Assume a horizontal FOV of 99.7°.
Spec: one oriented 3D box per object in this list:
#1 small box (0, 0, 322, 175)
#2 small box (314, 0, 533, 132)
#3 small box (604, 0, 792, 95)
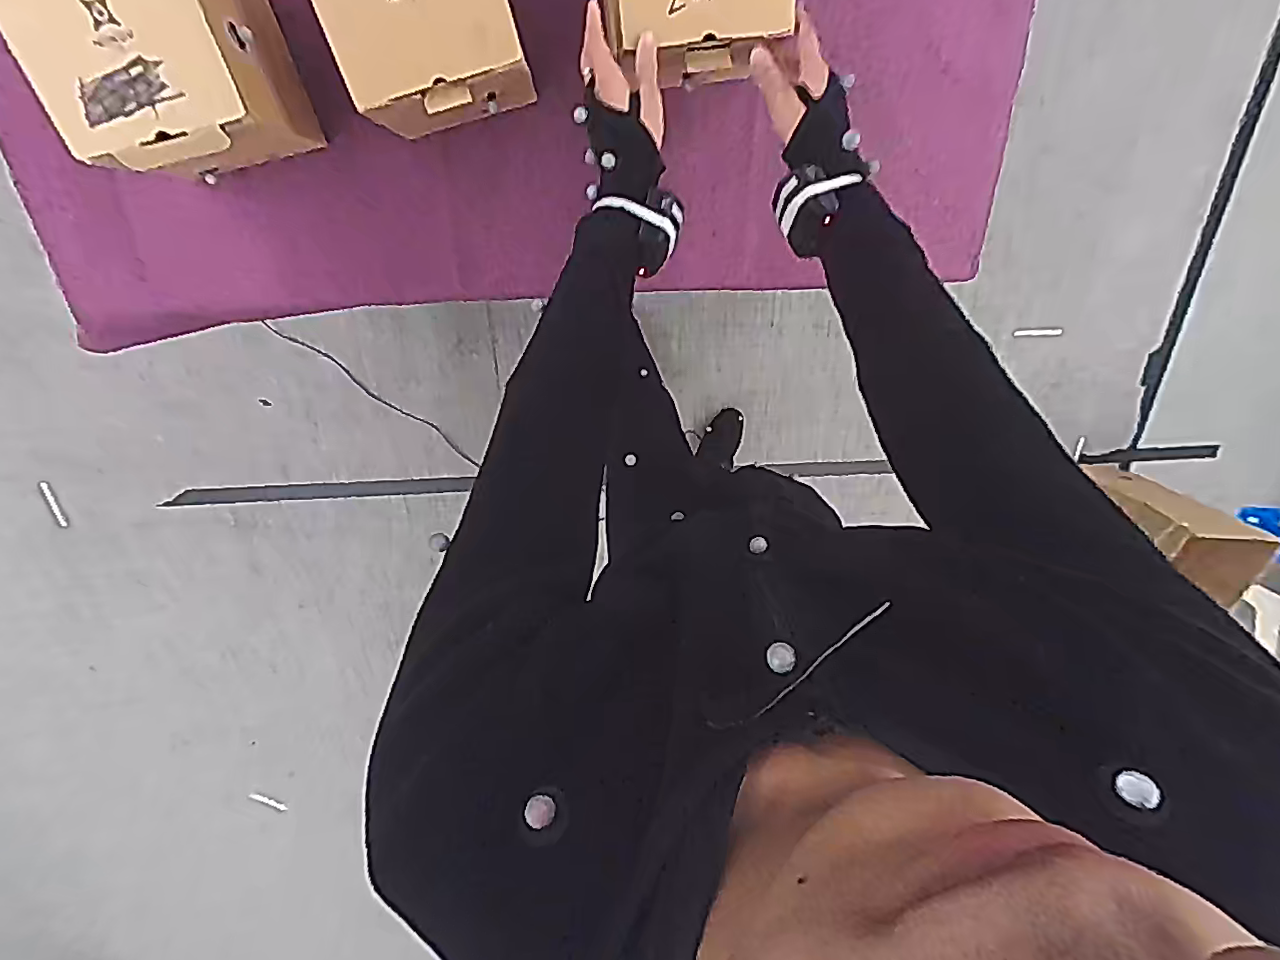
[{"bbox_3d":[-0.460,-0.419,0.538,0.168,0.176,0.179,-15,114,0],"label":"small box"},{"bbox_3d":[-0.214,-0.472,0.544,0.168,0.176,0.179,-16,115,0],"label":"small box"},{"bbox_3d":[0.047,-0.522,0.549,0.168,0.176,0.179,-8,115,-2],"label":"small box"}]
